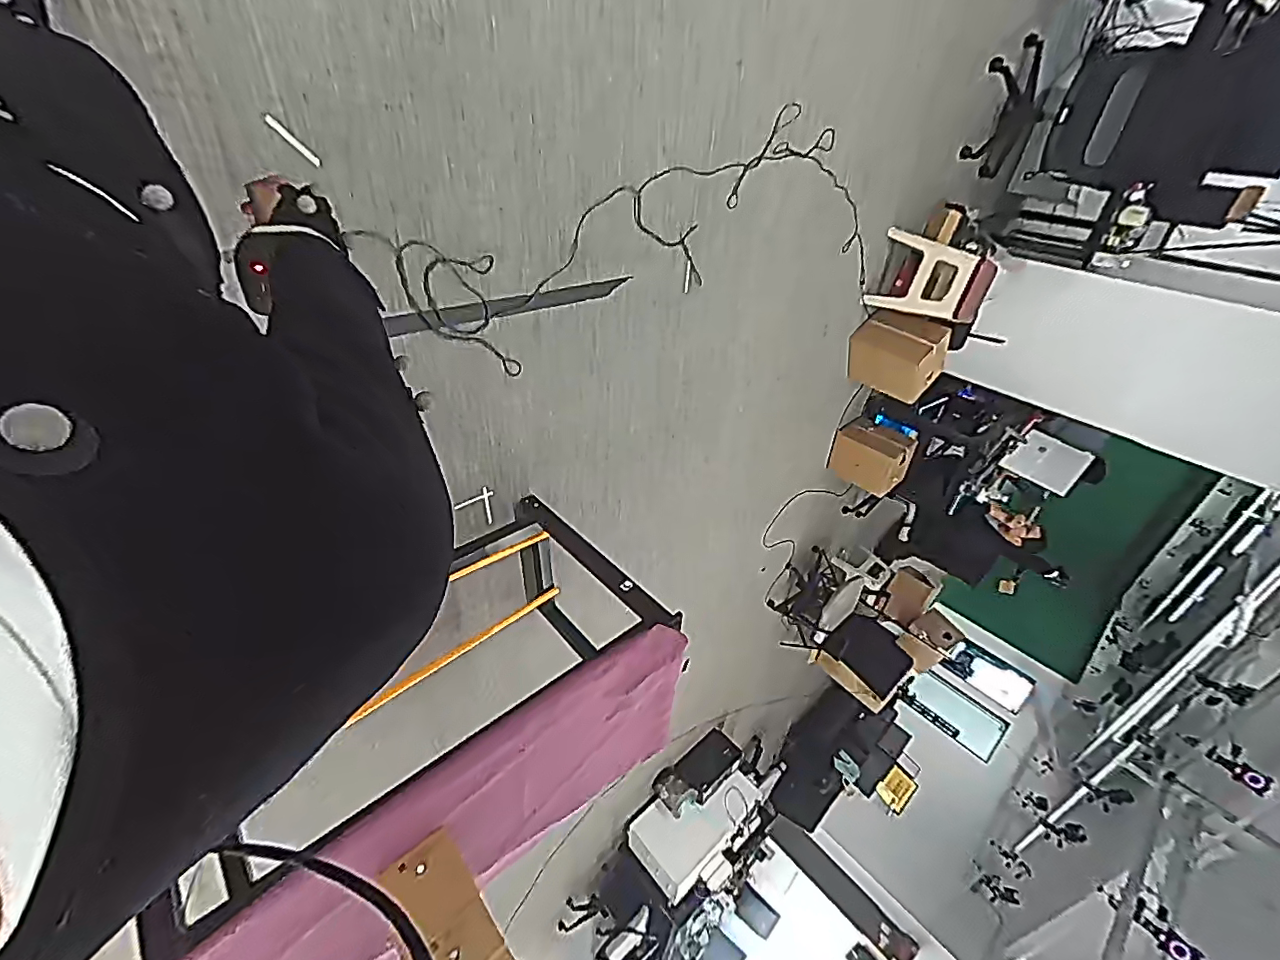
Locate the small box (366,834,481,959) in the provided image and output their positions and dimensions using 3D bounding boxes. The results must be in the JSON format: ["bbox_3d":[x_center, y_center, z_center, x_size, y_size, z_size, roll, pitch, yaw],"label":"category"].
[{"bbox_3d":[-0.448,0.894,1.133,0.168,0.176,0.179,-25,134,-37],"label":"small box"}]

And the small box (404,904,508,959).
[{"bbox_3d":[-0.340,0.971,1.034,0.168,0.176,0.179,-25,134,-37],"label":"small box"}]
